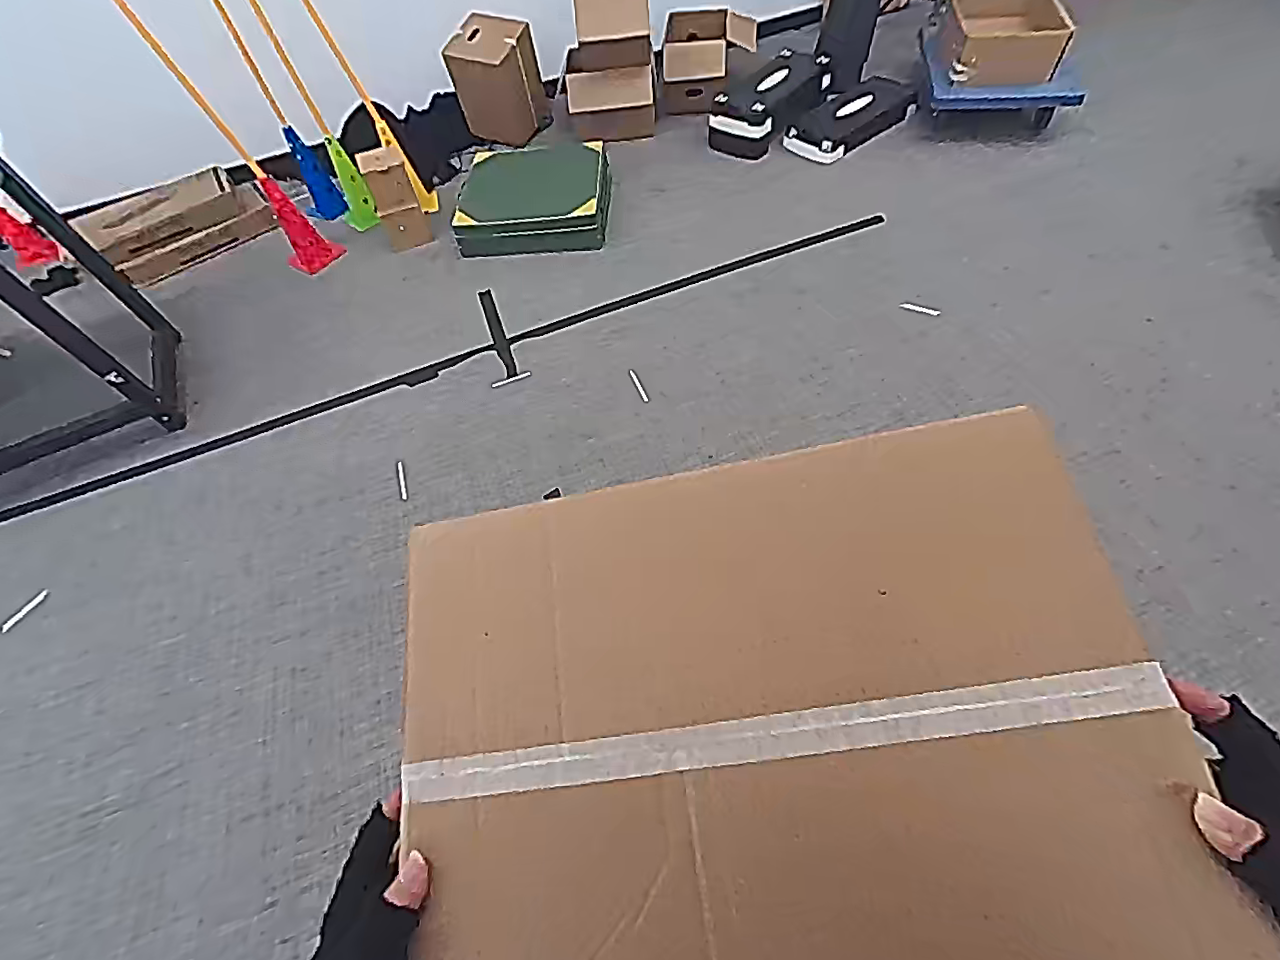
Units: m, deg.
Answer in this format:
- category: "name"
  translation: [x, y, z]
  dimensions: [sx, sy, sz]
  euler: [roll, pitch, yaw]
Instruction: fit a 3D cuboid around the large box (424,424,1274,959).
- category: "large box"
  translation: [0.096, 0.195, 0.436]
  dimensions: [0.408, 0.320, 0.320]
  euler: [-12, 67, 8]
